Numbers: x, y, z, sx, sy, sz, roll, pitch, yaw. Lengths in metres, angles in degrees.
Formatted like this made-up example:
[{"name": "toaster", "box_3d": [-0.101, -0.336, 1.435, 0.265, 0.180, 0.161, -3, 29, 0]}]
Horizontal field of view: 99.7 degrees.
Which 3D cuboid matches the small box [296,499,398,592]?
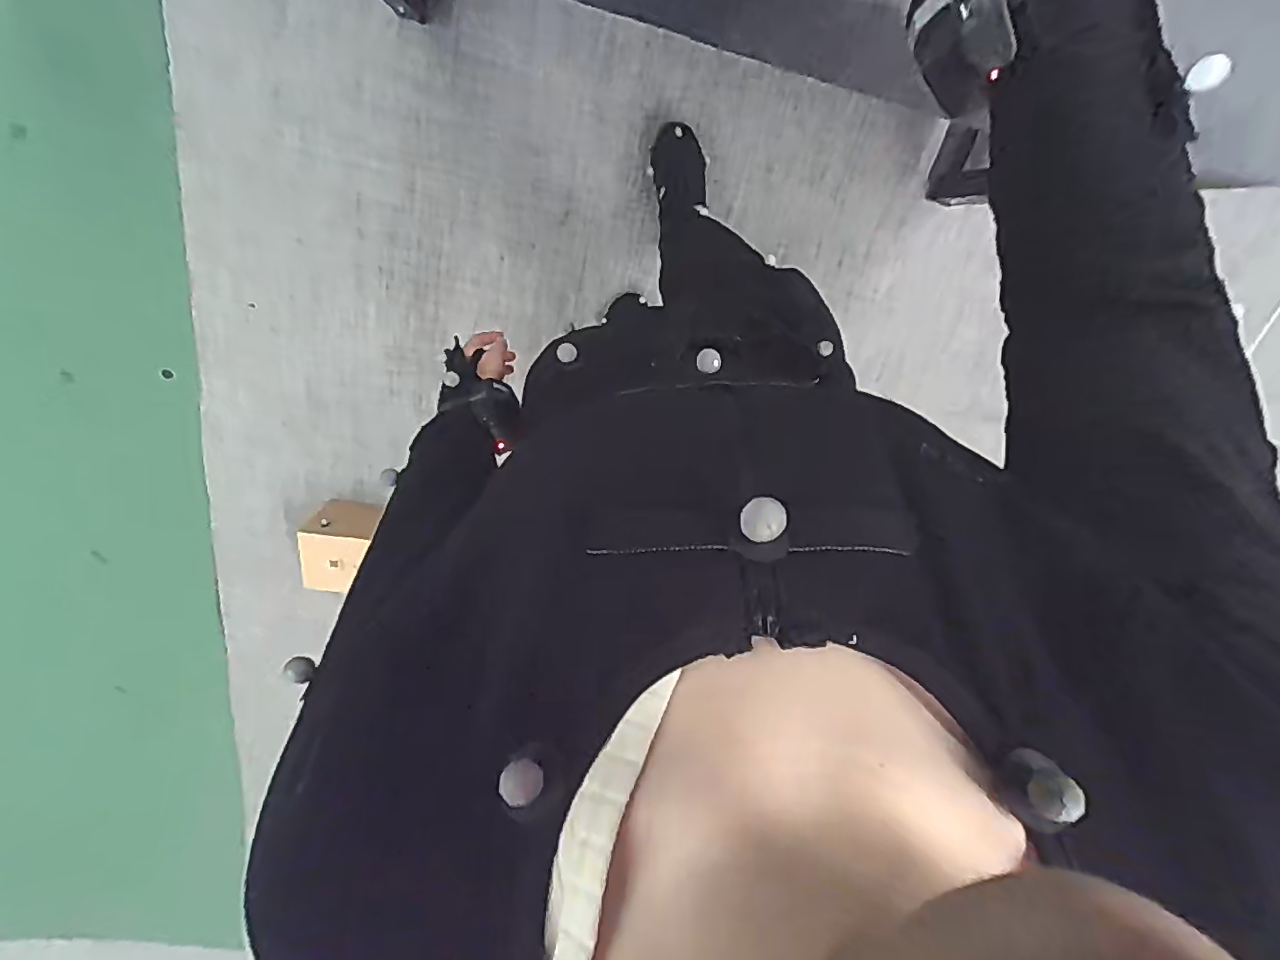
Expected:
[{"name": "small box", "box_3d": [-0.736, 0.160, 1.376, 0.179, 0.176, 0.168, 7, 115, -7]}]
